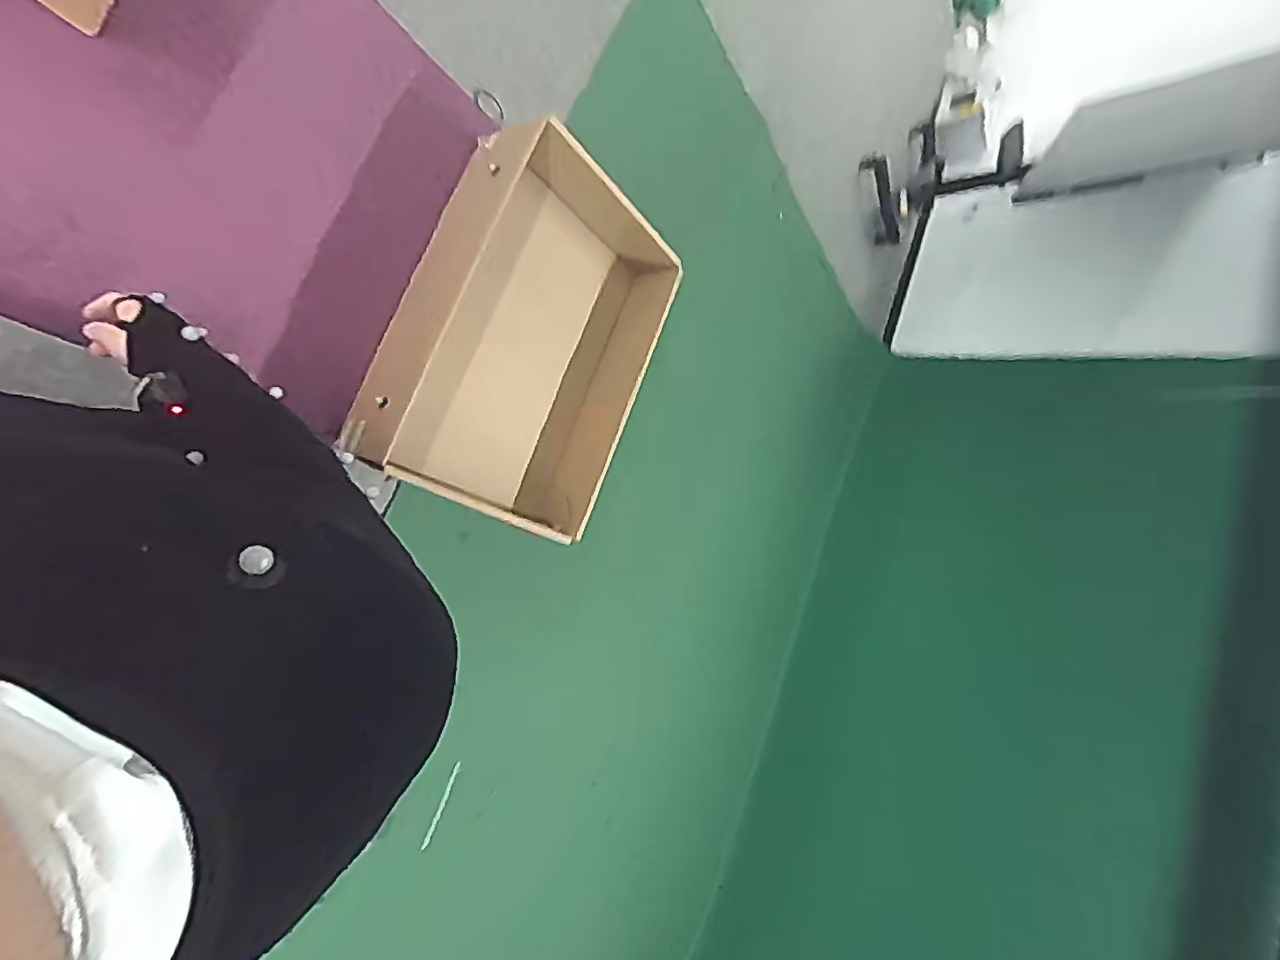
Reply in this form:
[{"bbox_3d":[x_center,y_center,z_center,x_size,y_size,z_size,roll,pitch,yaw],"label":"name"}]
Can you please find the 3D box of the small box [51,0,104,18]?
[{"bbox_3d":[-0.583,-0.600,0.507,0.168,0.176,0.179,29,77,-47],"label":"small box"}]
